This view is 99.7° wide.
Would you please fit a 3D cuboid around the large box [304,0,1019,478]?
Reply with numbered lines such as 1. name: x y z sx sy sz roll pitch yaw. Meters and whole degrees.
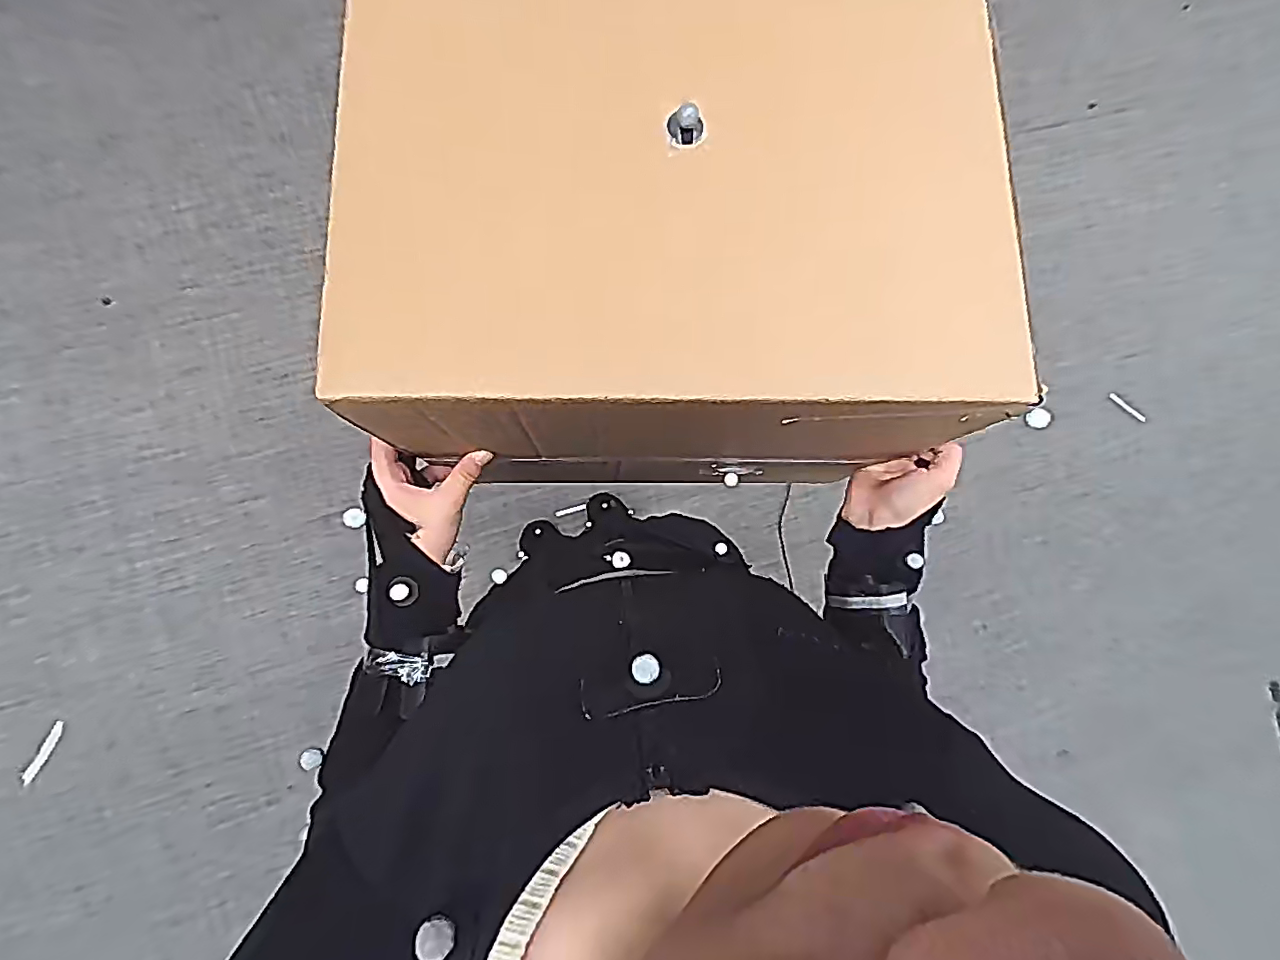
1. large box: 0.004 -0.179 0.464 0.408 0.320 0.320 -2 83 -2
